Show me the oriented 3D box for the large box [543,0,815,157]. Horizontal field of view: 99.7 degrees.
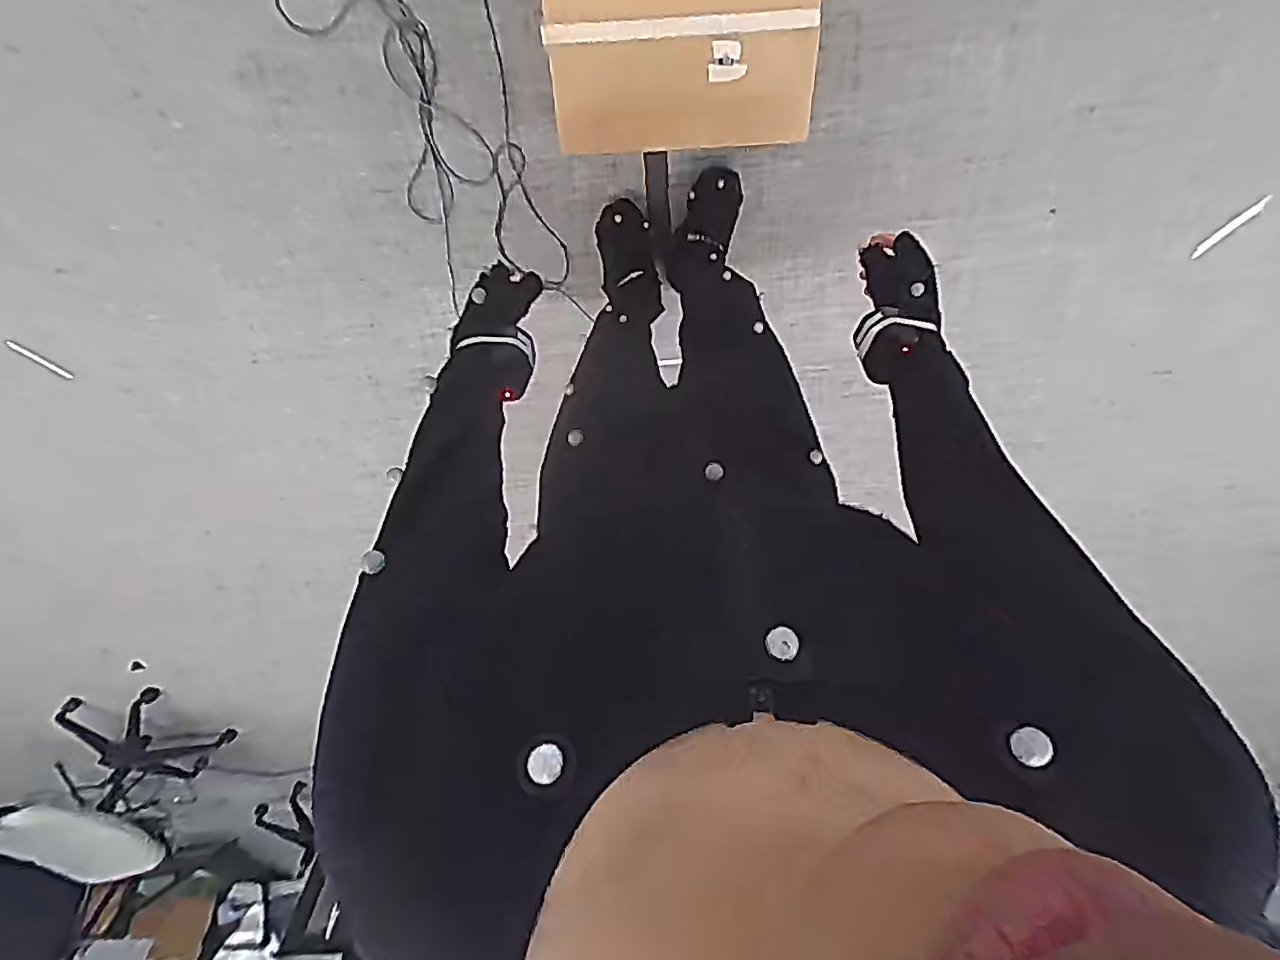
[{"bbox_3d":[0.054,-0.759,0.924,0.408,0.320,0.320,-3,126,0],"label":"large box"}]
